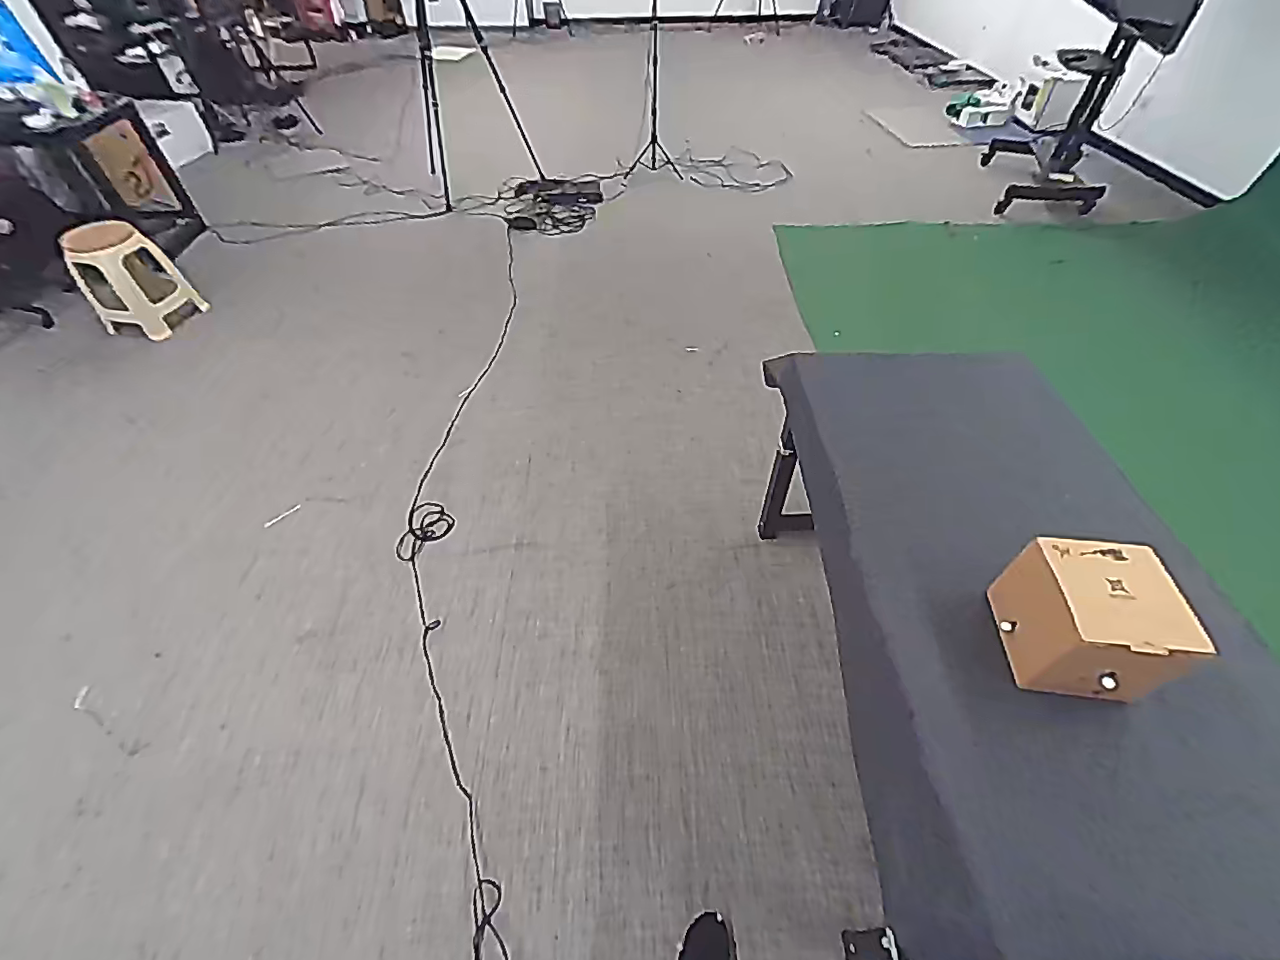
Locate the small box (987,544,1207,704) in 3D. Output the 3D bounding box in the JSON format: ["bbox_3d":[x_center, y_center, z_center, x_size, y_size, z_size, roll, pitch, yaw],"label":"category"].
[{"bbox_3d":[0.670,0.222,0.822,0.168,0.176,0.179,5,49,5],"label":"small box"}]
